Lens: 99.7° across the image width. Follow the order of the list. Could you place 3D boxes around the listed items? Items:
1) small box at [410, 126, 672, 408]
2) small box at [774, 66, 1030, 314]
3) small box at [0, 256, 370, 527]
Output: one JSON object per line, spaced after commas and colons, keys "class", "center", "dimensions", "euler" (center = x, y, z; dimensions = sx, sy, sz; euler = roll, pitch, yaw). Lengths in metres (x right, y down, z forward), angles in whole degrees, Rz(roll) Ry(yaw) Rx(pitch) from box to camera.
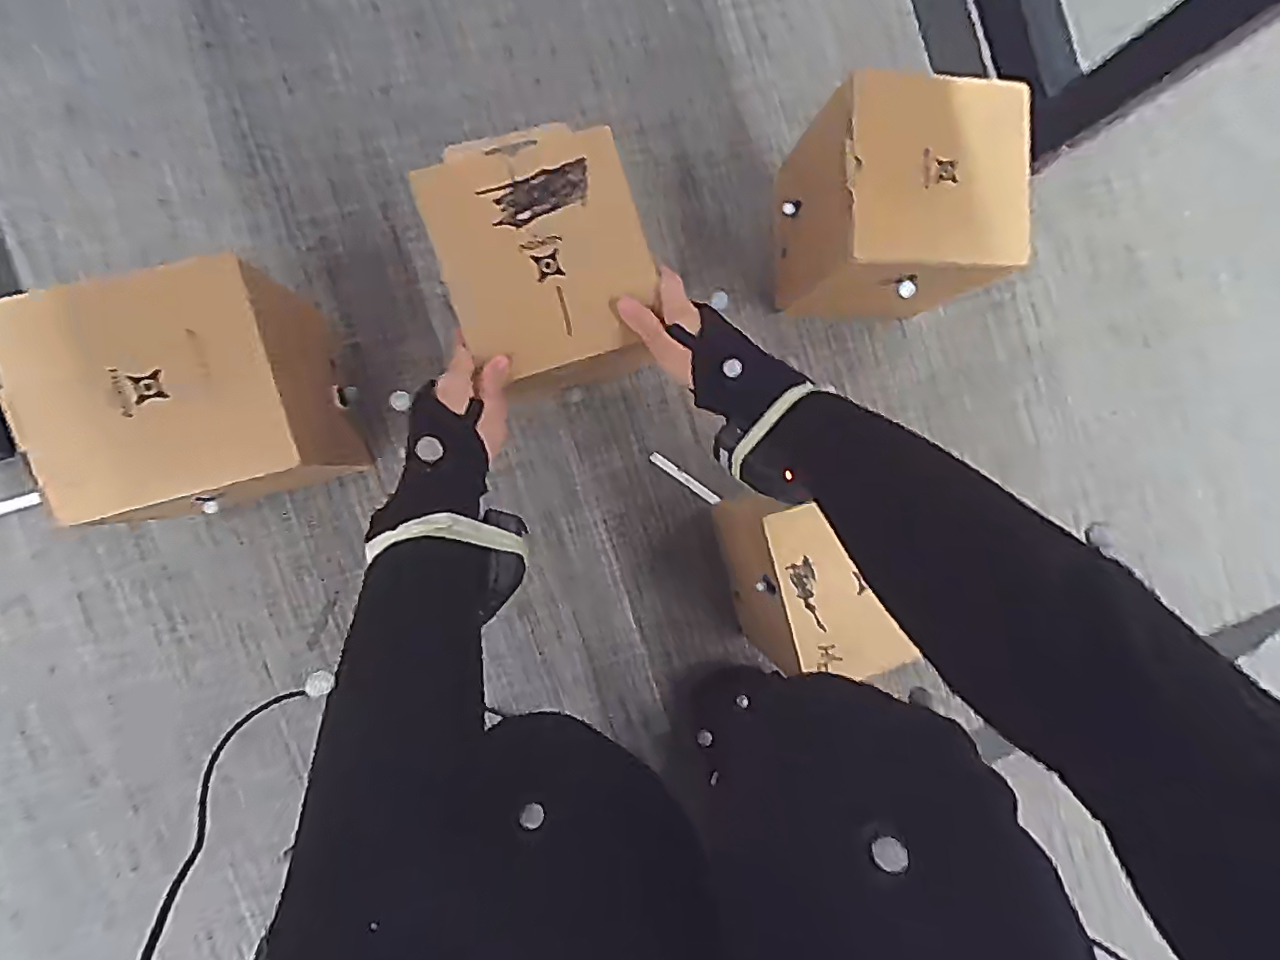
{"class": "small box", "center": [-0.087, -0.179, 0.505], "dimensions": [0.168, 0.176, 0.179], "euler": [-19, 95, -7]}
{"class": "small box", "center": [0.253, -0.275, 0.554], "dimensions": [0.179, 0.176, 0.168], "euler": [-1, 92, -8]}
{"class": "small box", "center": [-0.369, -0.066, 0.468], "dimensions": [0.179, 0.176, 0.168], "euler": [-16, 94, -9]}
